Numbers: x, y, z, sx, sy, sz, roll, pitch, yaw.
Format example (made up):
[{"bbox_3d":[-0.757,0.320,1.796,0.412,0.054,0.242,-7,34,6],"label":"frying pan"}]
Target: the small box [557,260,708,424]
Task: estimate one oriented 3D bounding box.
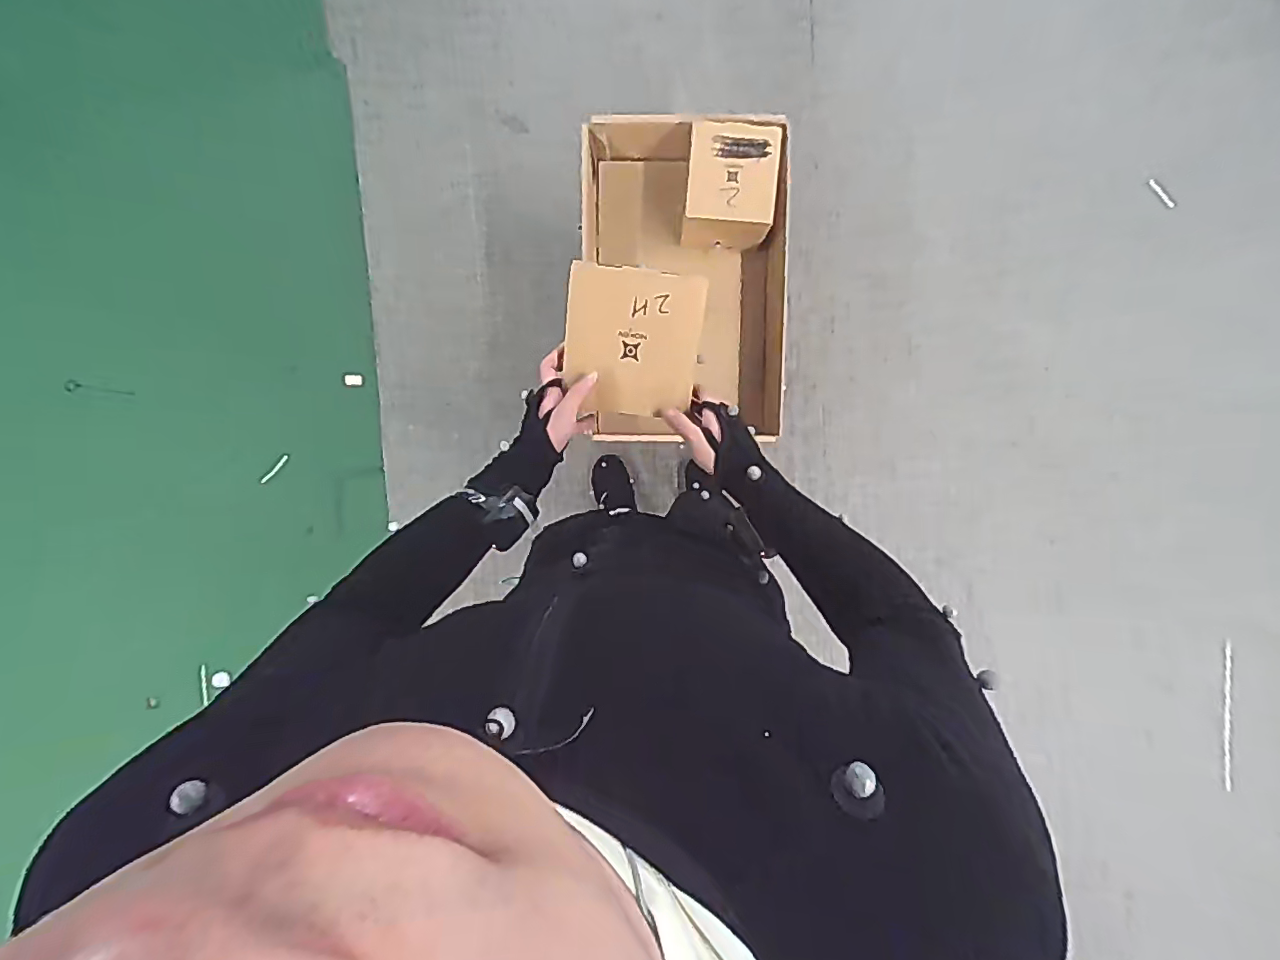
[{"bbox_3d":[-0.011,-0.187,0.732,0.168,0.176,0.179,8,107,-2],"label":"small box"}]
